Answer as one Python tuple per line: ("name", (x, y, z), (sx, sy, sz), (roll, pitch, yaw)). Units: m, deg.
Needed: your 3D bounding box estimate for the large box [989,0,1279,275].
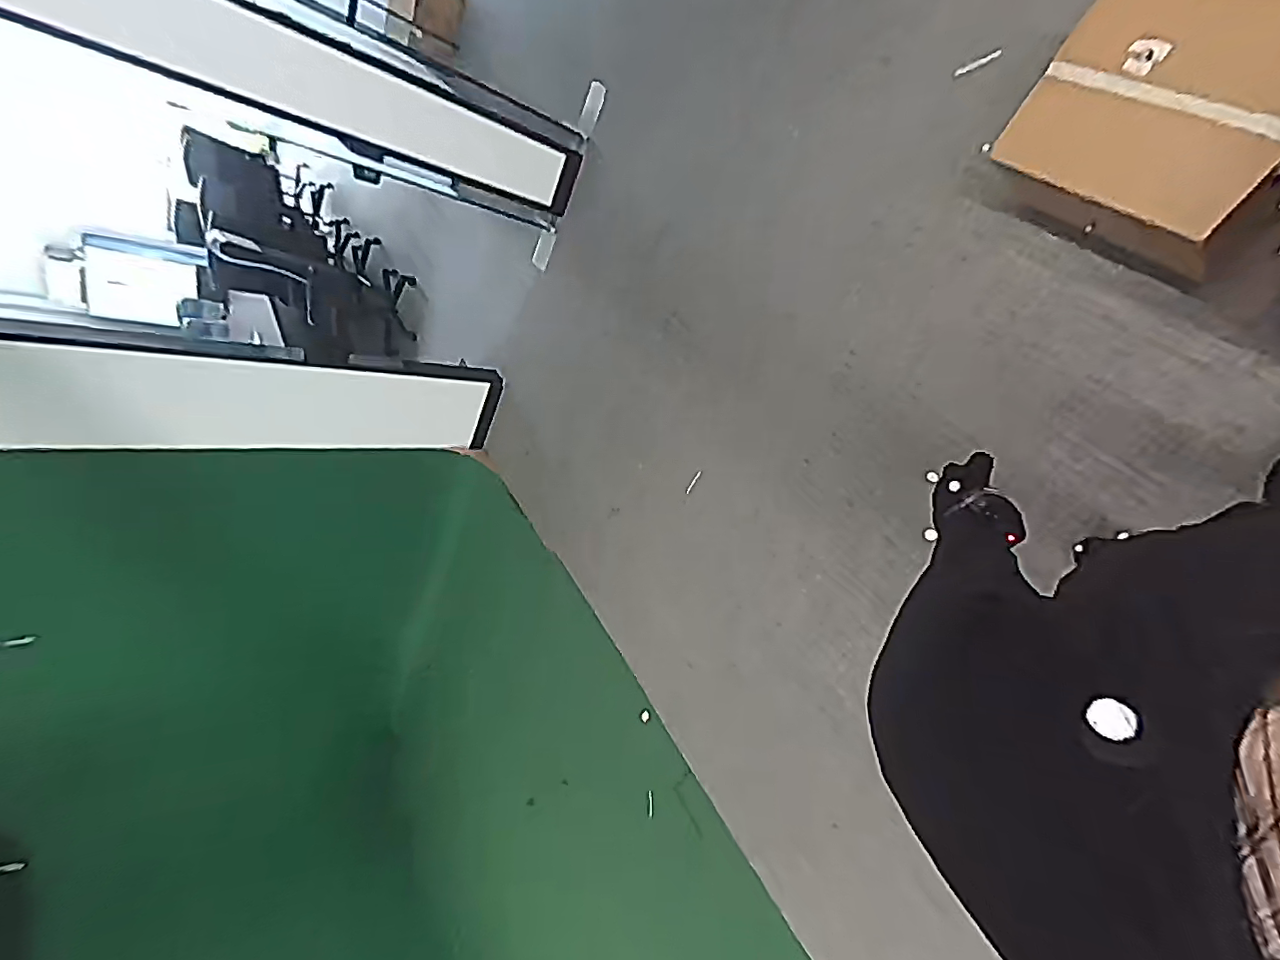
("large box", (0.968, -0.629, 0.985), (0.408, 0.320, 0.320), (52, 127, 33))
